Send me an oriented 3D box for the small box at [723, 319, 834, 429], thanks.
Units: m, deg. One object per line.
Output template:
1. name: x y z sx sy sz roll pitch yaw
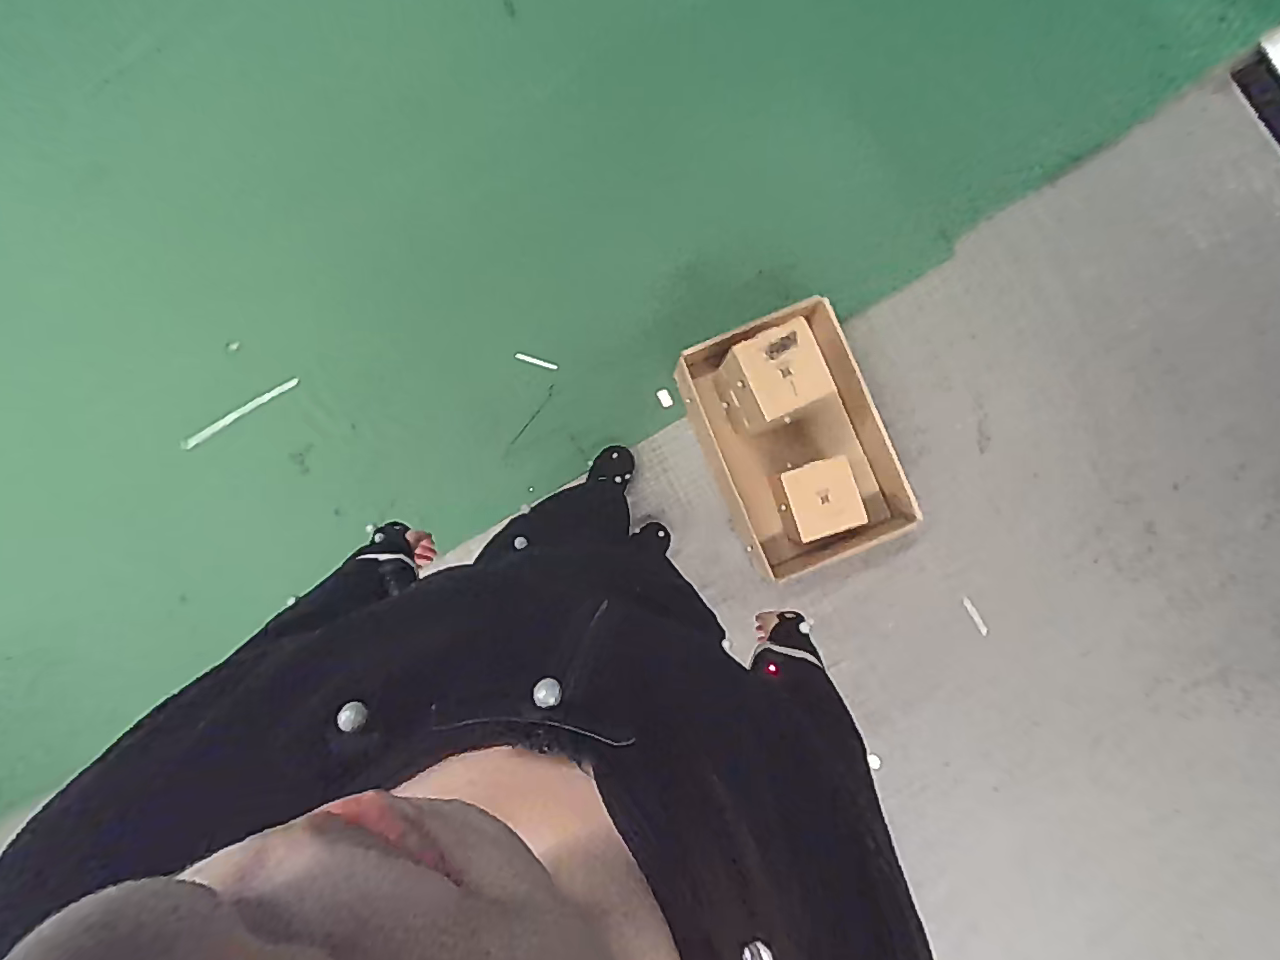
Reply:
1. small box: 0.301 -0.229 1.216 0.168 0.176 0.179 -23 89 -1
